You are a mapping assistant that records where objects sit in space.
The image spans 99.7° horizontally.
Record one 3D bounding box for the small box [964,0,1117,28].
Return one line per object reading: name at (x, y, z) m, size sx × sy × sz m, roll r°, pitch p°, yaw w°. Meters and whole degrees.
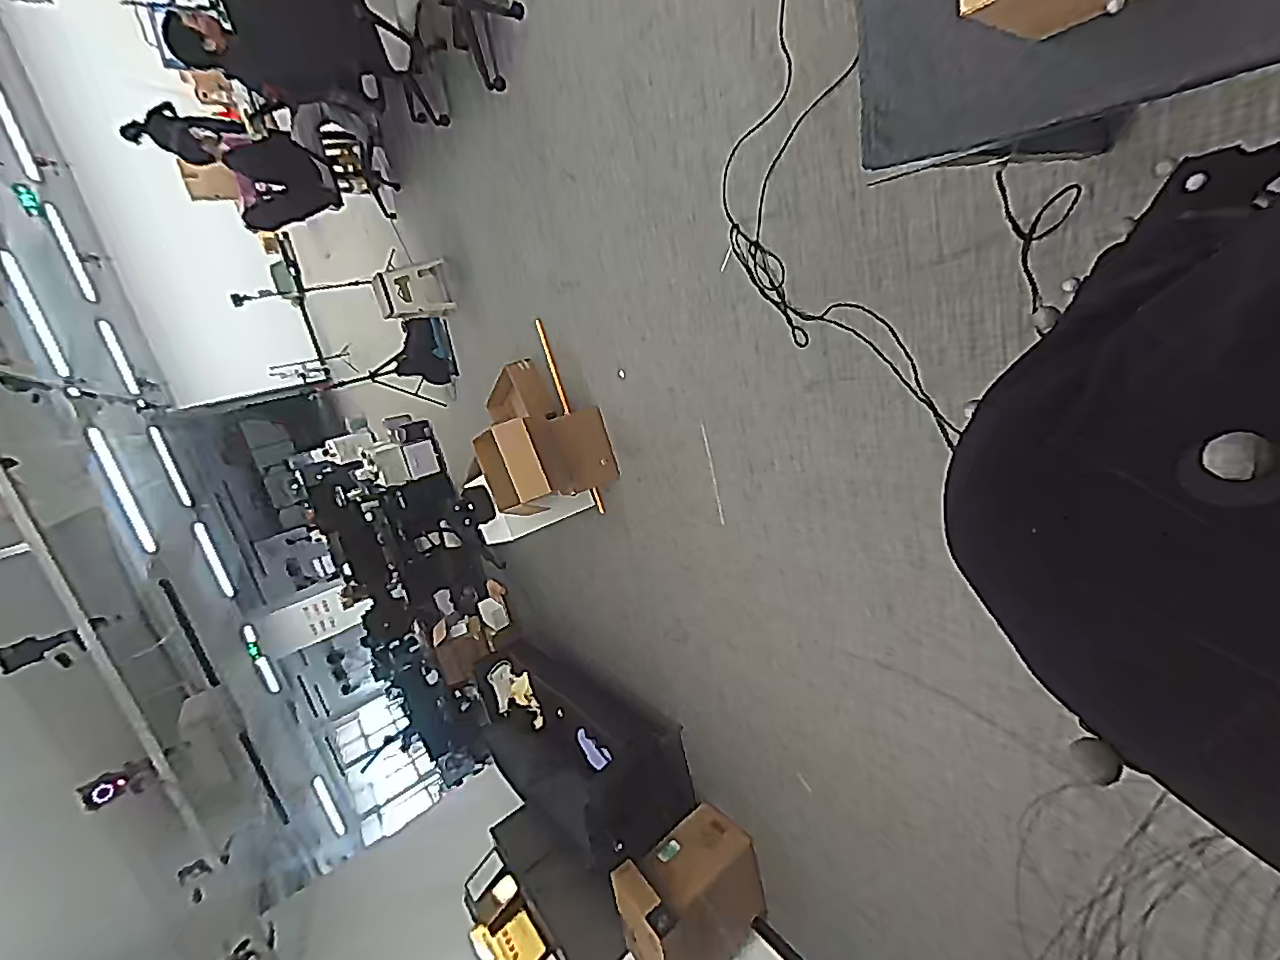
small box at (0.382, -0.508, 0.430) m, size 0.168 × 0.176 × 0.179 m, roll 14°, pitch 120°, yaw 52°
